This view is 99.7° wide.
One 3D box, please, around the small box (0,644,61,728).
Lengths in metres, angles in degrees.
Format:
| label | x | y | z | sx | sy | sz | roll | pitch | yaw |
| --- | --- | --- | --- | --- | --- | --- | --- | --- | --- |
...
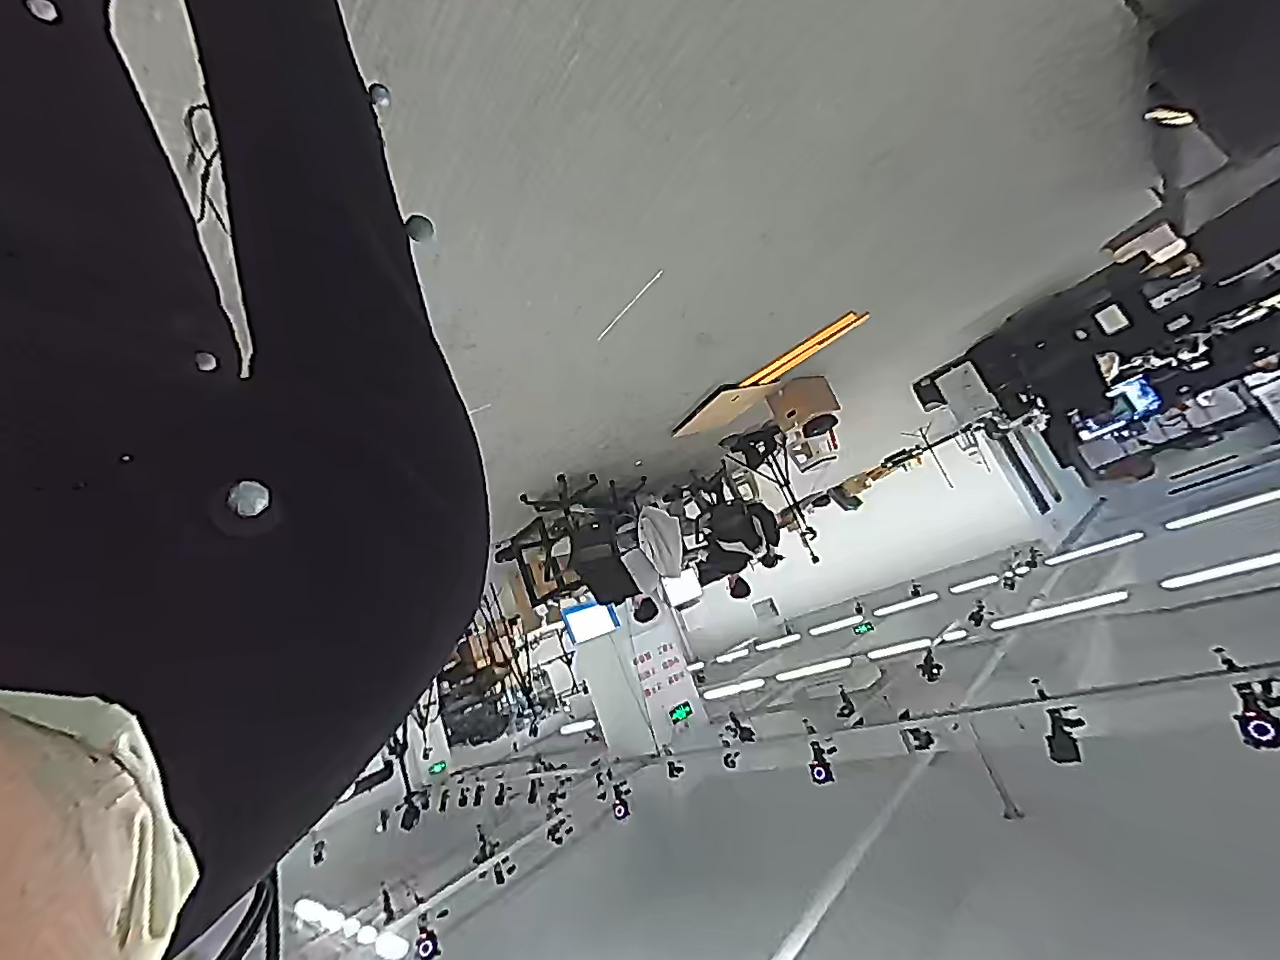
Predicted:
| label | x | y | z | sx | sy | sz | roll | pitch | yaw |
| --- | --- | --- | --- | --- | --- | --- | --- | --- | --- |
| small box | -1.686 | 0.555 | 1.446 | 0.168 | 0.176 | 0.179 | -10 | 160 | -44 |
